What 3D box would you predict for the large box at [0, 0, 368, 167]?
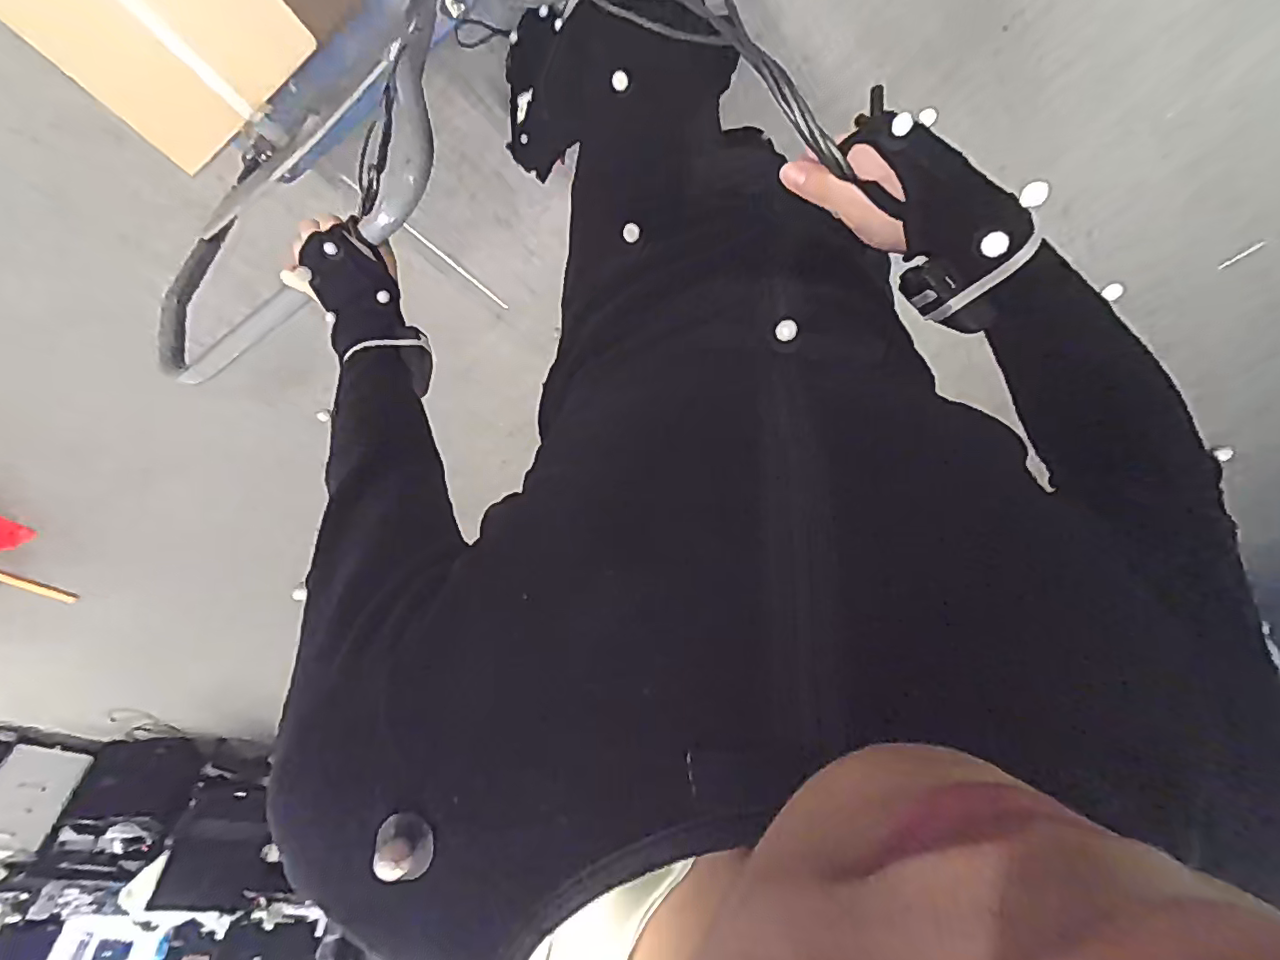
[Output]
[{"bbox_3d":[-0.679,-0.761,0.758,0.320,0.320,0.408,-26,137,20],"label":"large box"}]
